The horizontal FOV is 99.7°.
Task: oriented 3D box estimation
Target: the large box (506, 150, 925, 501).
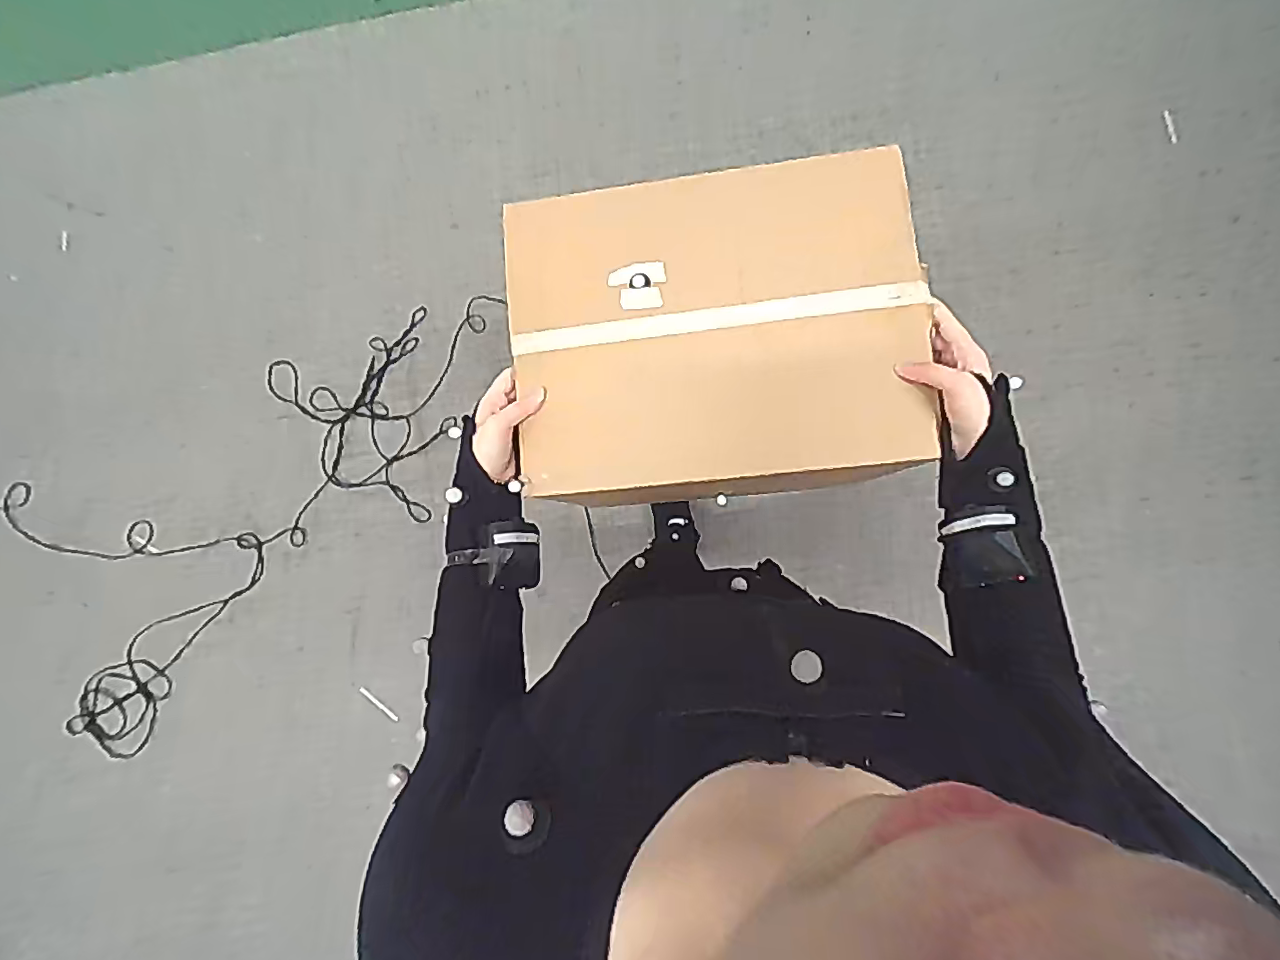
[{"bbox_3d":[0.084,-0.147,0.698,0.408,0.320,0.320,-6,84,7],"label":"large box"}]
